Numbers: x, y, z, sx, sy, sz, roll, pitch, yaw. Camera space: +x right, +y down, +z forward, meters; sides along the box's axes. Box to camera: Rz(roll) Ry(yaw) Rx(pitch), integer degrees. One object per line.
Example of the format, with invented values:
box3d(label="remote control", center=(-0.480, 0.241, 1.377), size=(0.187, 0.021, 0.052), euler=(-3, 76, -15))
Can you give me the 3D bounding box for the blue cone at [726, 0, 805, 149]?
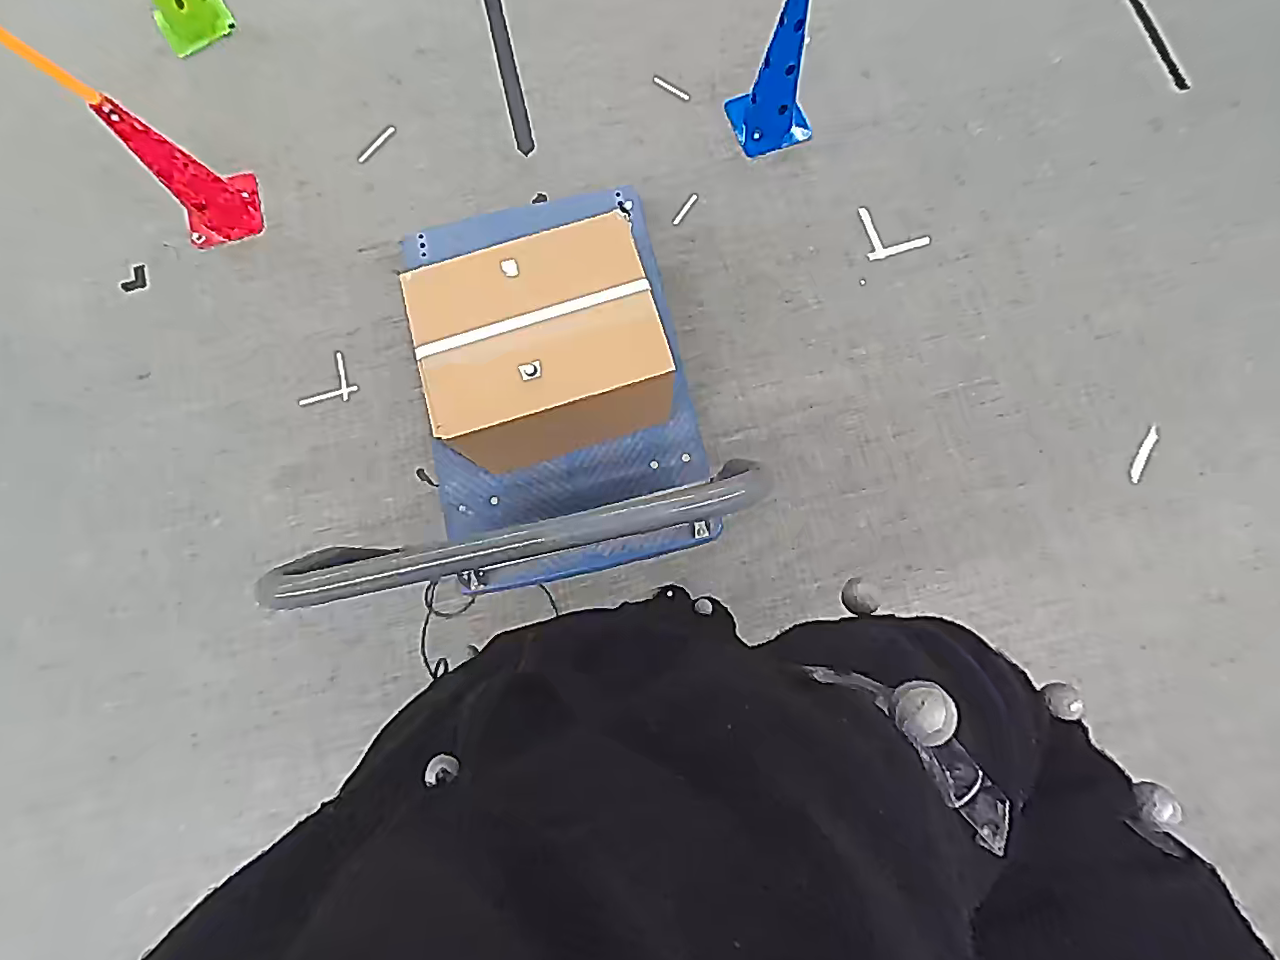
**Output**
box3d(label="blue cone", center=(0.352, -1.060, 1.366), size=(0.193, 0.380, 0.192), euler=(-18, 78, -3))
